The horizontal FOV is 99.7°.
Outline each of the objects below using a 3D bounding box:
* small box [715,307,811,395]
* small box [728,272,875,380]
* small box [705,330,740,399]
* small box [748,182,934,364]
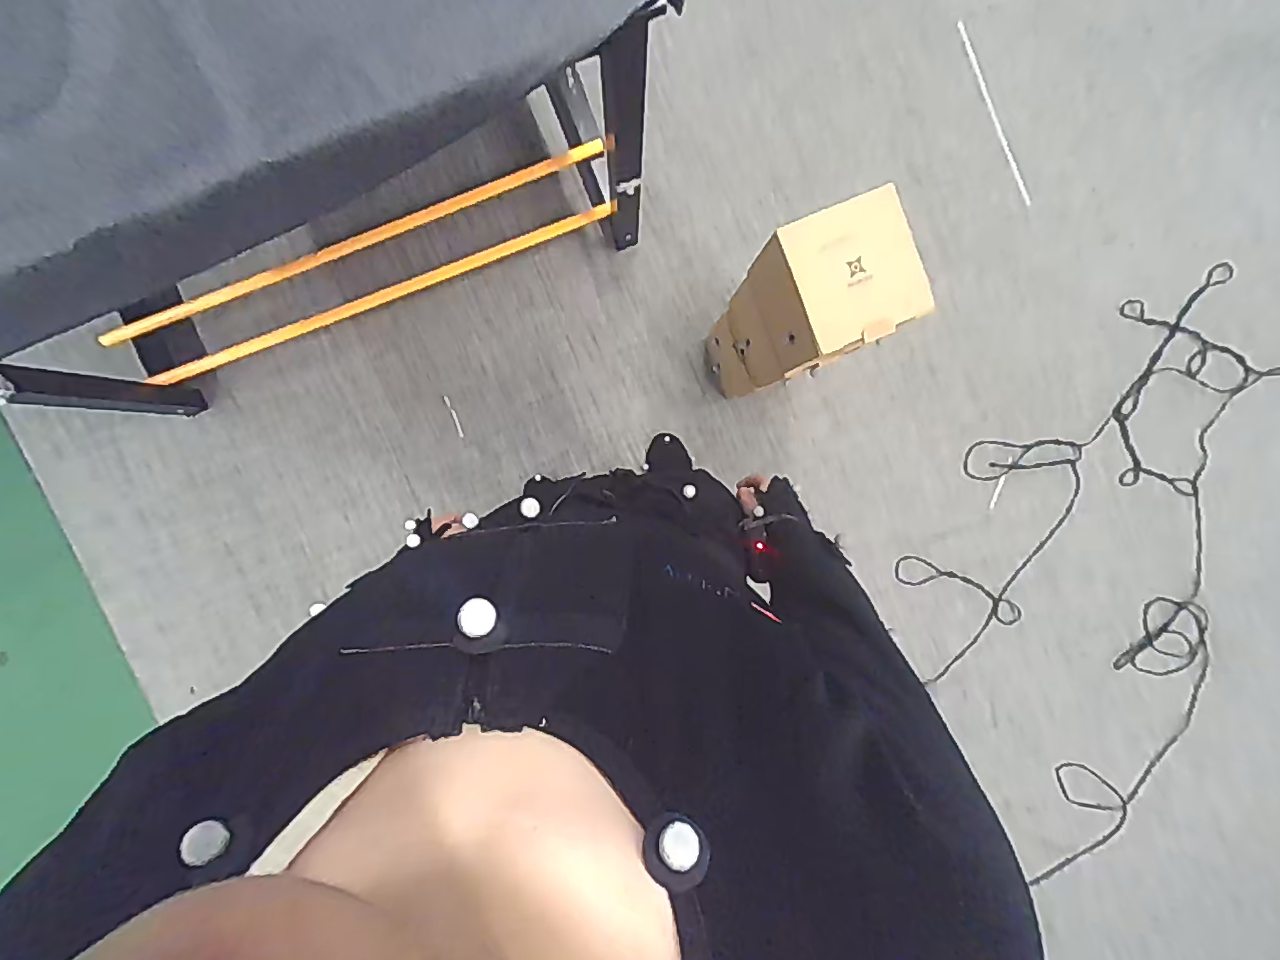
[{"bbox_3d":[0.265,-0.284,1.104,0.179,0.176,0.168,-24,94,-1],"label":"small box"},{"bbox_3d":[0.271,-0.282,0.939,0.168,0.176,0.179,-22,95,-1],"label":"small box"},{"bbox_3d":[0.269,-0.302,1.266,0.179,0.176,0.168,-21,93,-1],"label":"small box"},{"bbox_3d":[0.275,-0.278,0.777,0.168,0.176,0.179,-23,93,-1],"label":"small box"}]
